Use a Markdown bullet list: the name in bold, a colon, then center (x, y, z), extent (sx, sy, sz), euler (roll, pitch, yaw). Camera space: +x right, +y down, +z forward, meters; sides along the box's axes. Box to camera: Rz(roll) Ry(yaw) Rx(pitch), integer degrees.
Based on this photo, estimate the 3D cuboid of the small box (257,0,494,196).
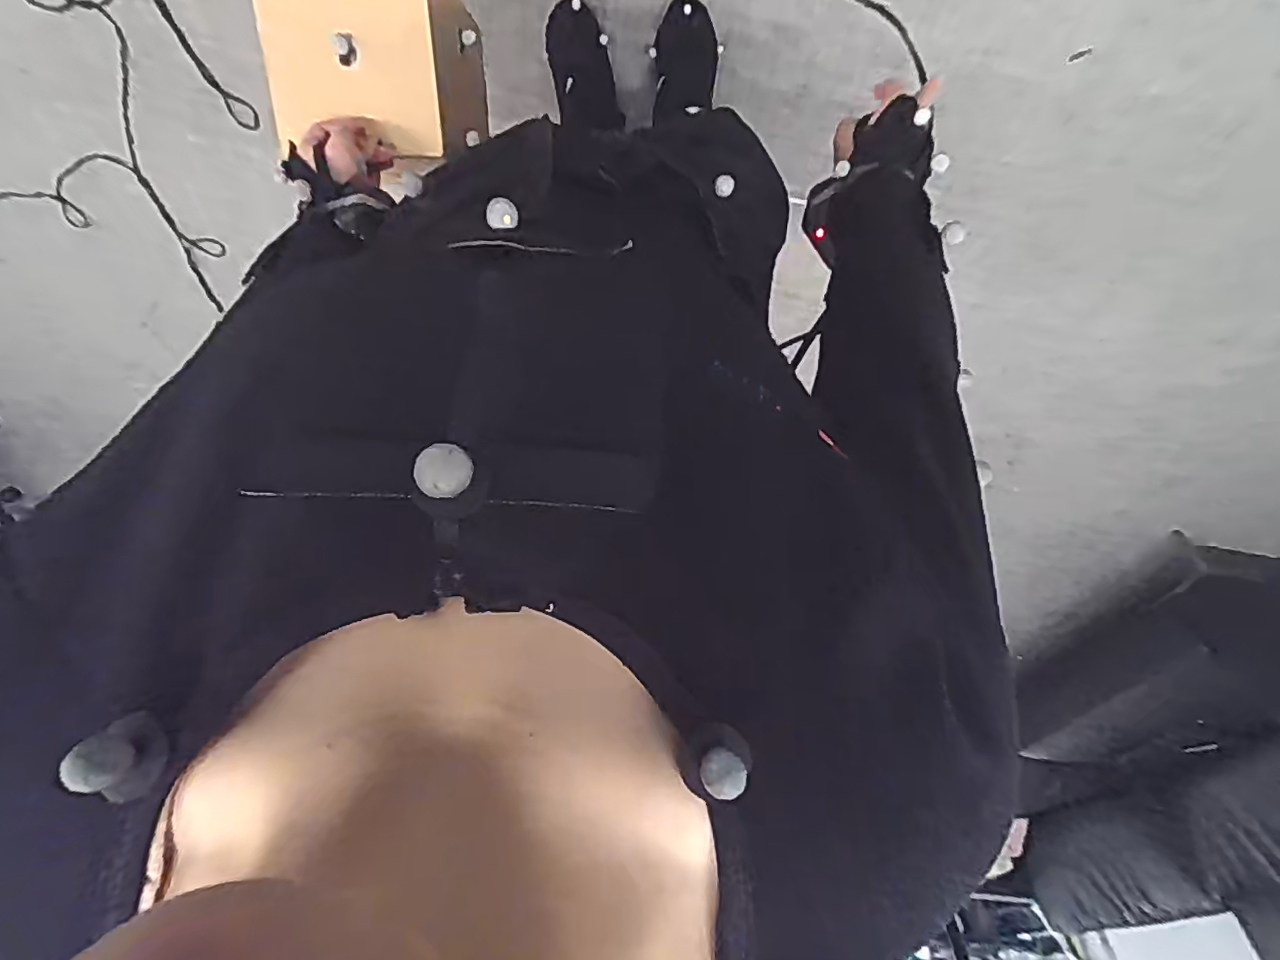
- **small box**: center (-0.274, -0.421, 0.593), extent (0.168, 0.179, 0.176), euler (-1, 111, 2)
